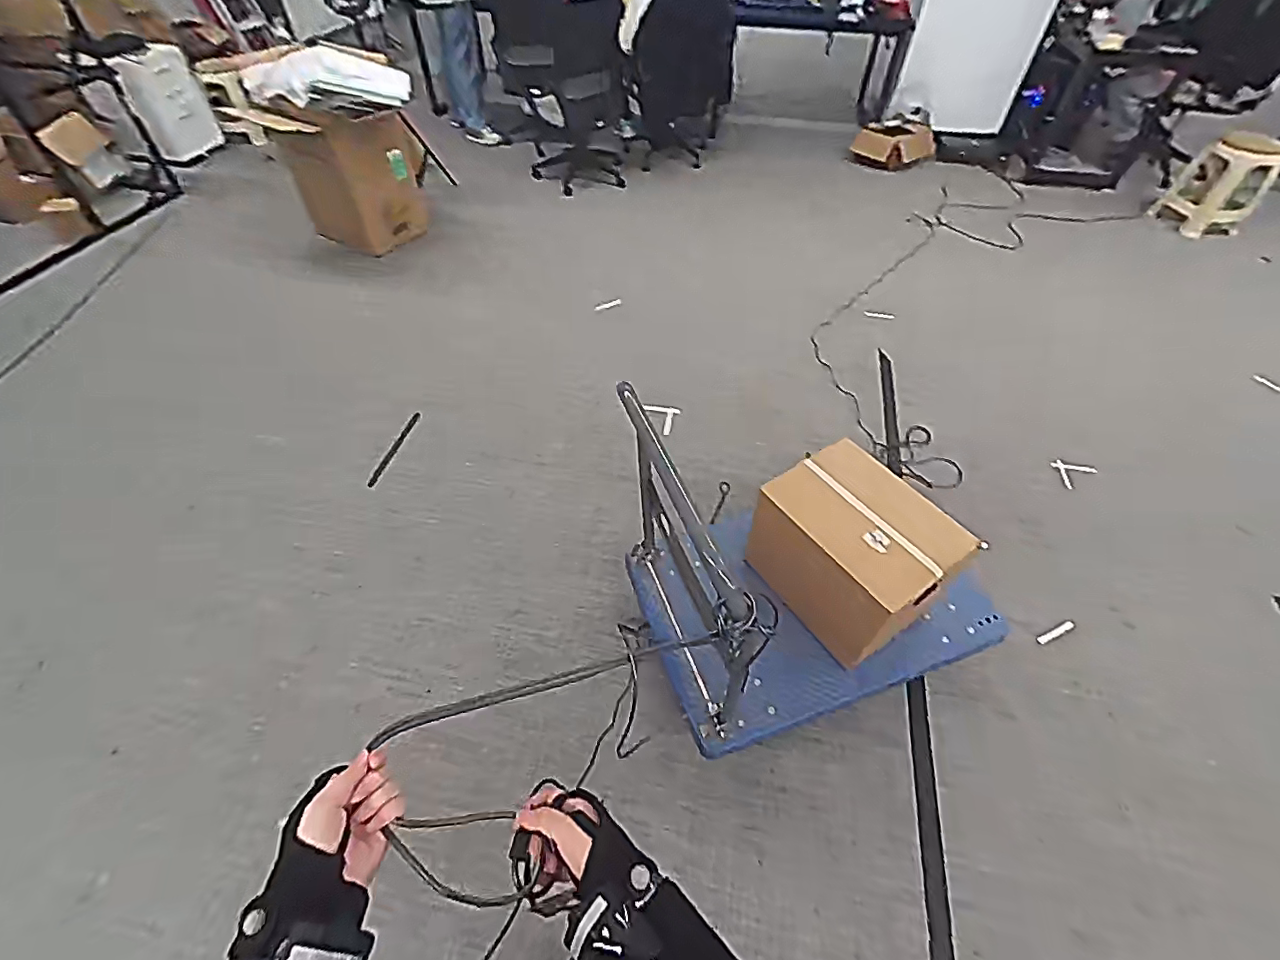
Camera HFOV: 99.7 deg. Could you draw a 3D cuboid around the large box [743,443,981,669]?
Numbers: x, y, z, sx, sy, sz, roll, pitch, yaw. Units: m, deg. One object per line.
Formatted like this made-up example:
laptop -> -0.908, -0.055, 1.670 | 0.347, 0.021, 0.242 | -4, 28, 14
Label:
large box -> 0.524, 0.184, 1.365 | 0.320, 0.320, 0.408 | -27, 55, -21
